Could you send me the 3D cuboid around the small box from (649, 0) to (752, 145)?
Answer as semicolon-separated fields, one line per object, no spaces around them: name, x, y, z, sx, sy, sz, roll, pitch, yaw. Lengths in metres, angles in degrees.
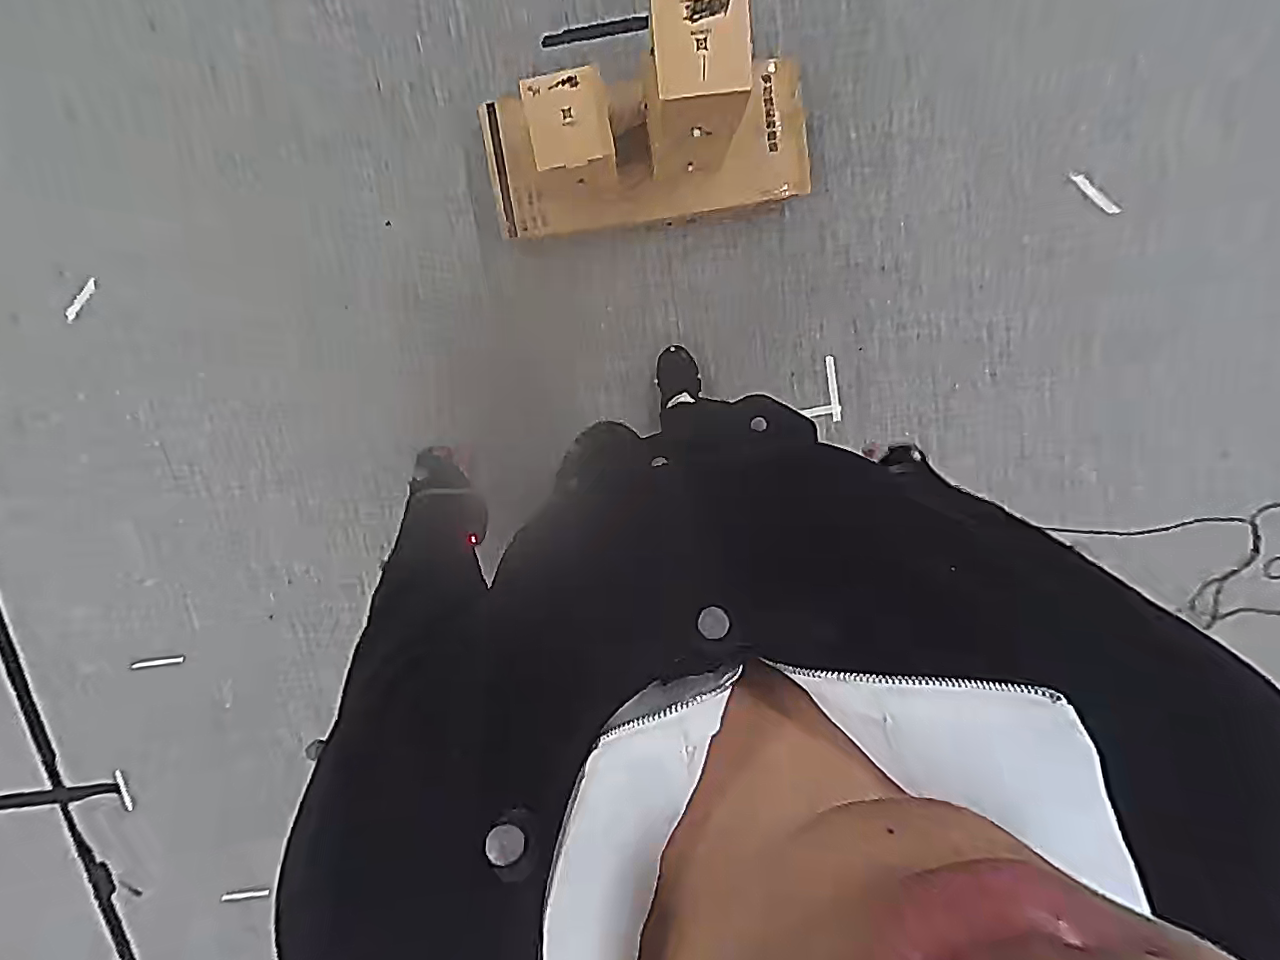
small box;0.105;-0.757;1.001;0.168;0.176;0.179;-6;99;1

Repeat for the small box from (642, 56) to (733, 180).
small box;0.096;-0.780;1.163;0.168;0.176;0.179;-9;99;2

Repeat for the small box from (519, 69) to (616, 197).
small box;-0.148;-0.735;1.170;0.168;0.176;0.179;-11;100;2
